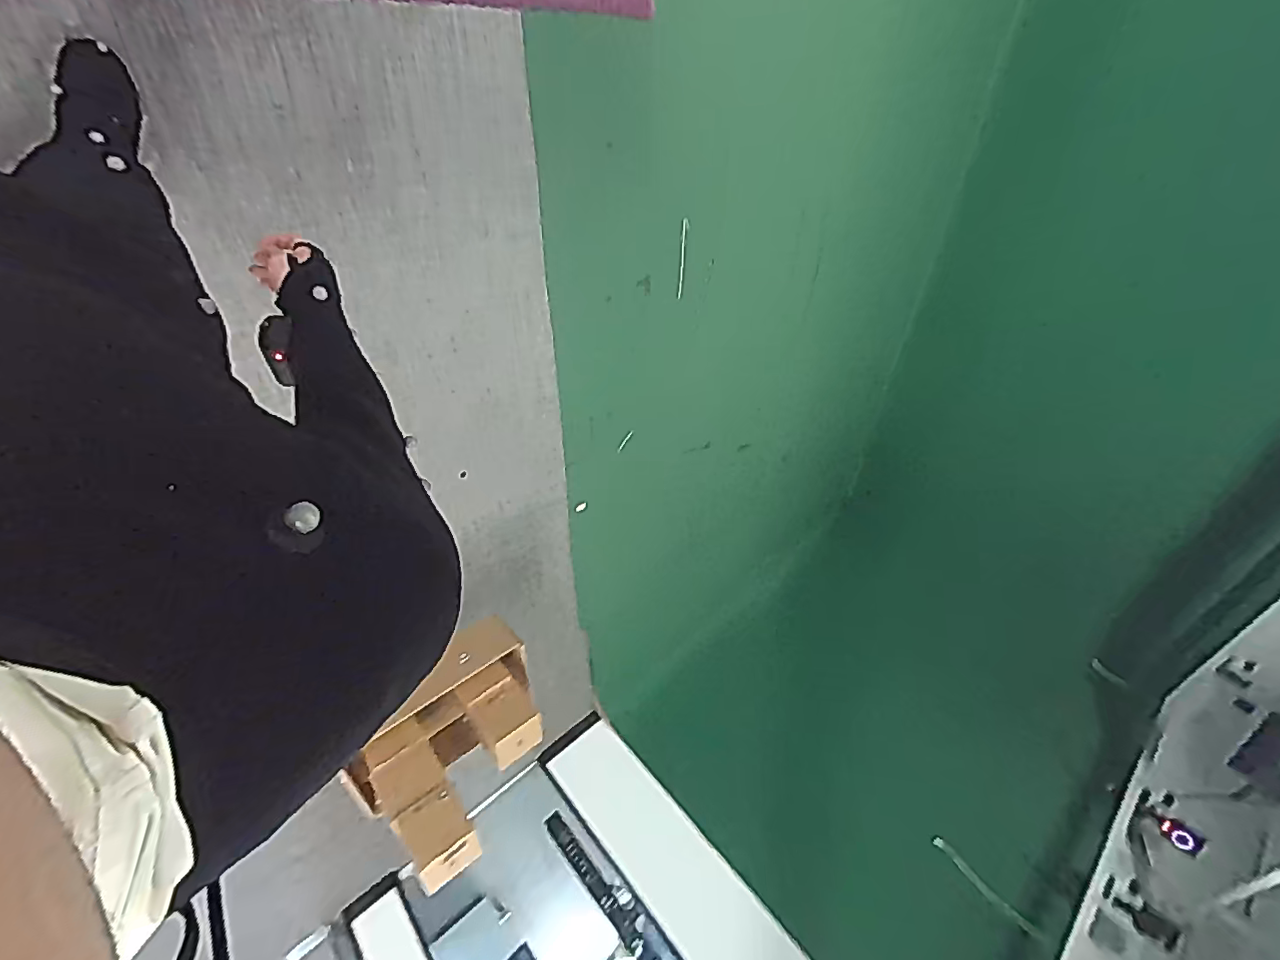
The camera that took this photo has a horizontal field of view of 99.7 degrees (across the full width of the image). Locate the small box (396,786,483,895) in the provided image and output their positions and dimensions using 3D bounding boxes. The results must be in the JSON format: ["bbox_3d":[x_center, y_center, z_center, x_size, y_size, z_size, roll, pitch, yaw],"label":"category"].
[{"bbox_3d":[-0.564,1.004,1.521,0.168,0.176,0.179,-25,136,-33],"label":"small box"}]

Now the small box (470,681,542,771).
[{"bbox_3d":[-0.442,0.805,1.782,0.168,0.176,0.179,-27,136,-35],"label":"small box"}]
